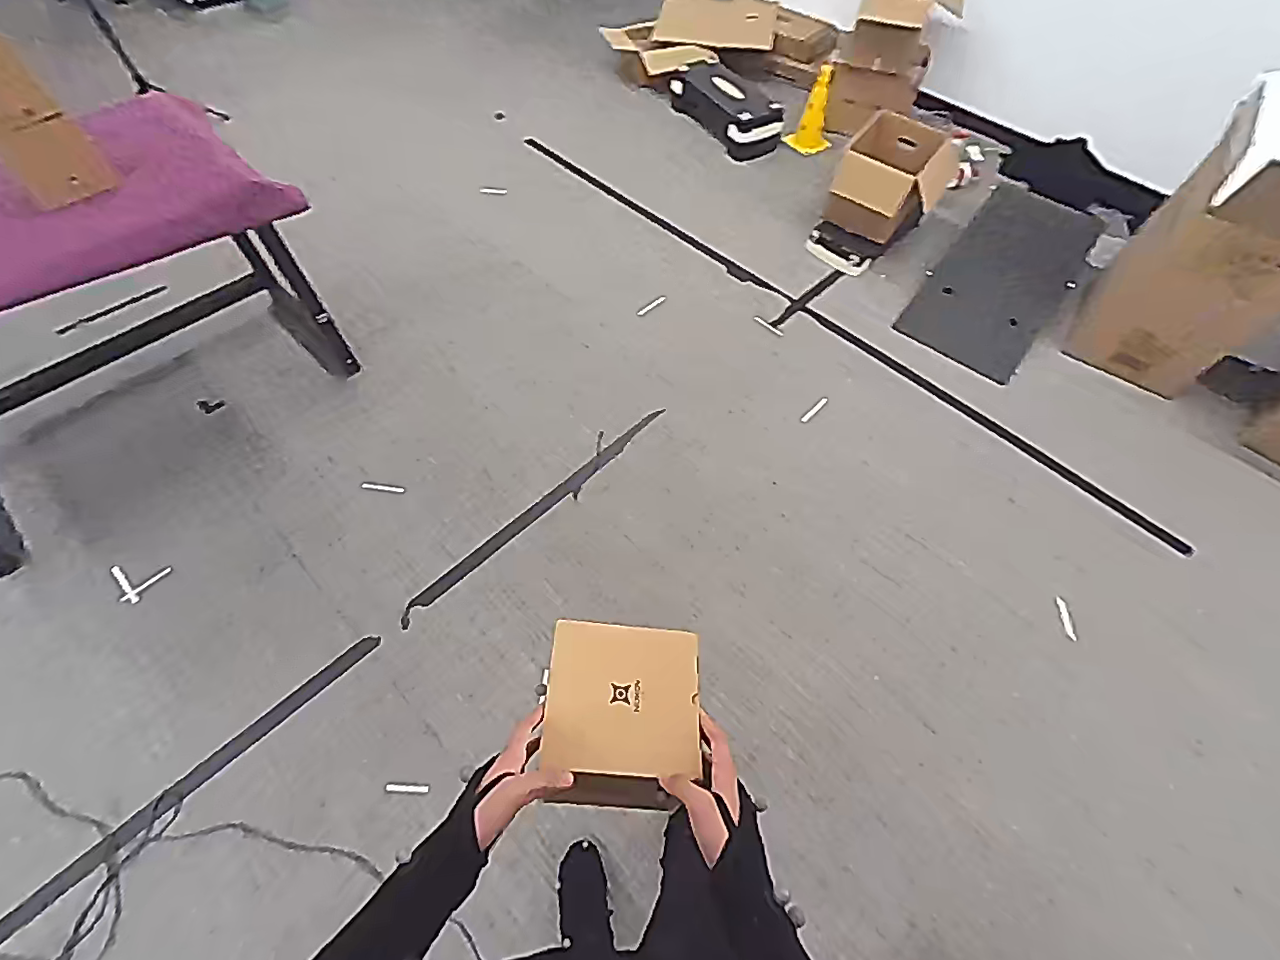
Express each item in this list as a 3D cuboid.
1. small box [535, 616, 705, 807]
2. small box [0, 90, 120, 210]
[{"bbox_3d":[-0.030,0.284,0.654,0.179,0.176,0.168,8,48,-7],"label":"small box"},{"bbox_3d":[-1.425,-0.795,1.309,0.168,0.176,0.179,38,65,19],"label":"small box"}]
